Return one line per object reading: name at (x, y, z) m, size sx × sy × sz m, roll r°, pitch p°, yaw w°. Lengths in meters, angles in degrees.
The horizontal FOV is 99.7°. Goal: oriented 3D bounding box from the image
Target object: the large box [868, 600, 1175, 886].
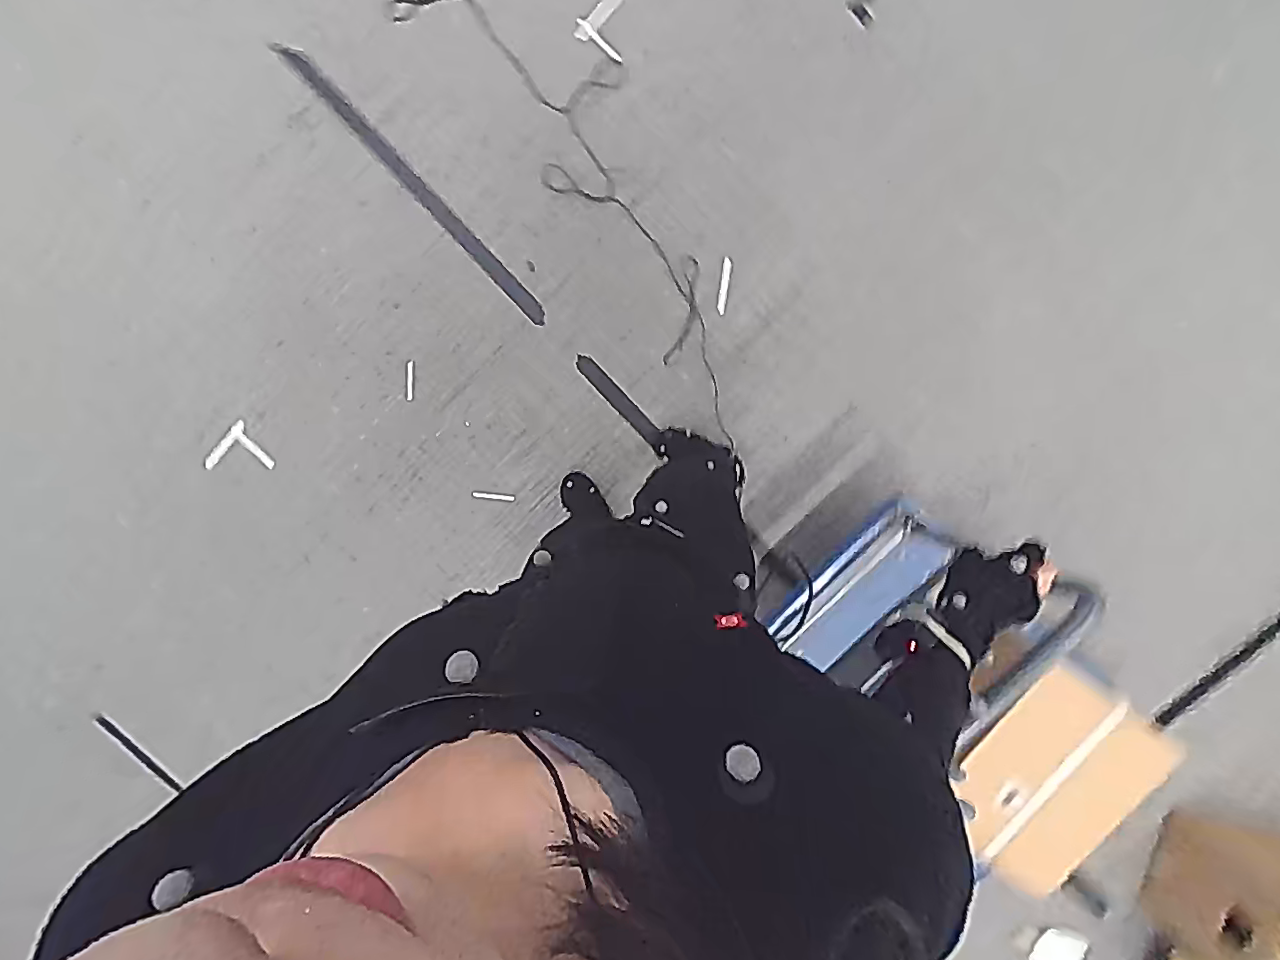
large box at (0.798, 0.550, 1.199) m, size 0.320 × 0.320 × 0.408 m, roll 36°, pitch 97°, yaw 0°
